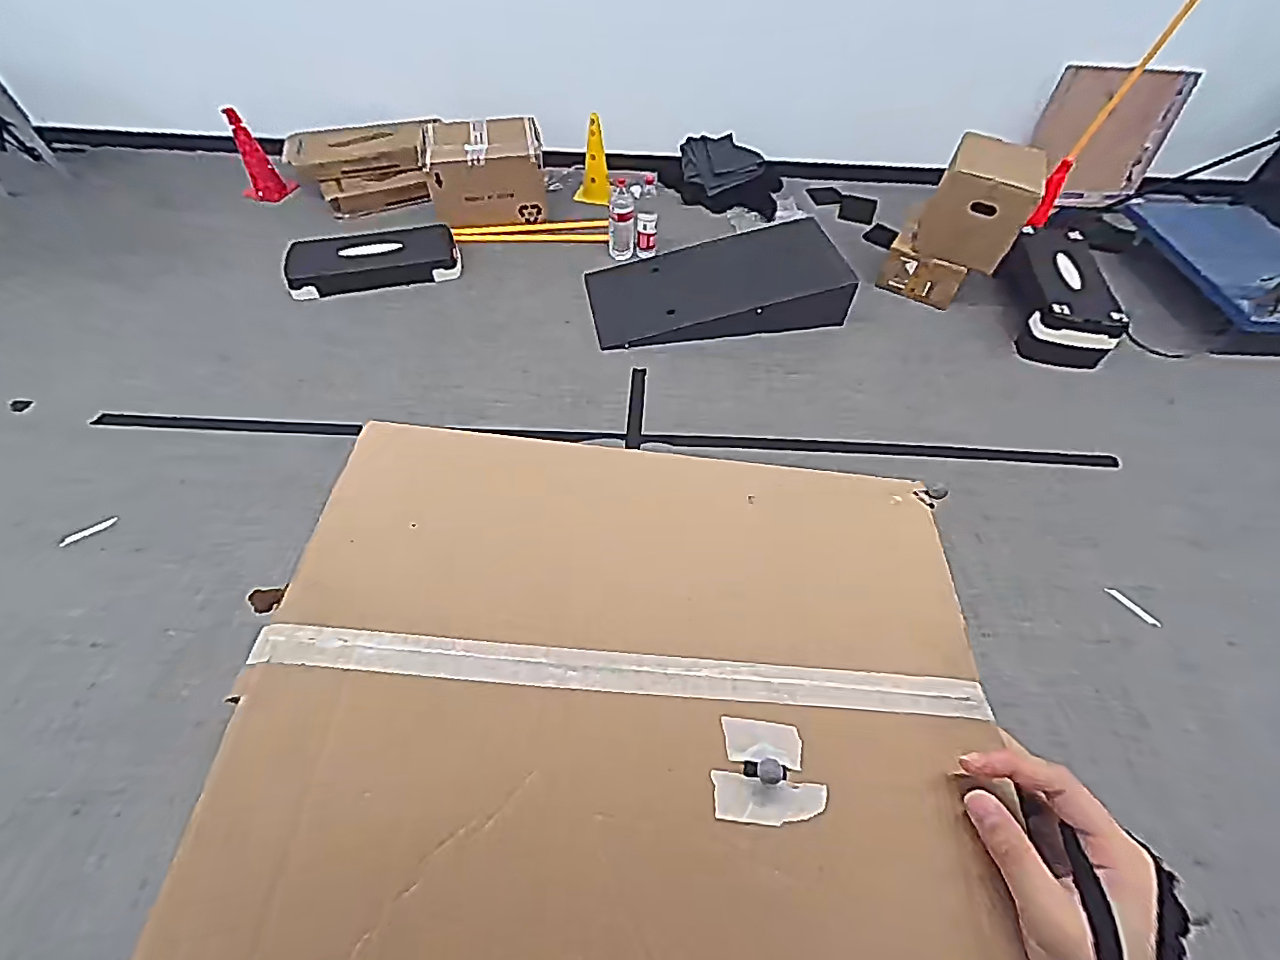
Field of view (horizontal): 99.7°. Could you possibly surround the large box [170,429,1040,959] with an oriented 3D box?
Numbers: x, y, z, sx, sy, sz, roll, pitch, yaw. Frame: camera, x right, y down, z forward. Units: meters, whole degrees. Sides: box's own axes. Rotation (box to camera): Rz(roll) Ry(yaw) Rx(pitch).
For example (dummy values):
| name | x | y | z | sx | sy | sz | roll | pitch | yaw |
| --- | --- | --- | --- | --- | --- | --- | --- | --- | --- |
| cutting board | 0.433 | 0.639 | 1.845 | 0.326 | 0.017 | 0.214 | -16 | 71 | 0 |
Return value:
| name | x | y | z | sx | sy | sz | roll | pitch | yaw |
| --- | --- | --- | --- | --- | --- | --- | --- | --- | --- |
| large box | -0.015 | 0.191 | 0.441 | 0.408 | 0.320 | 0.320 | 7 | 57 | -4 |
